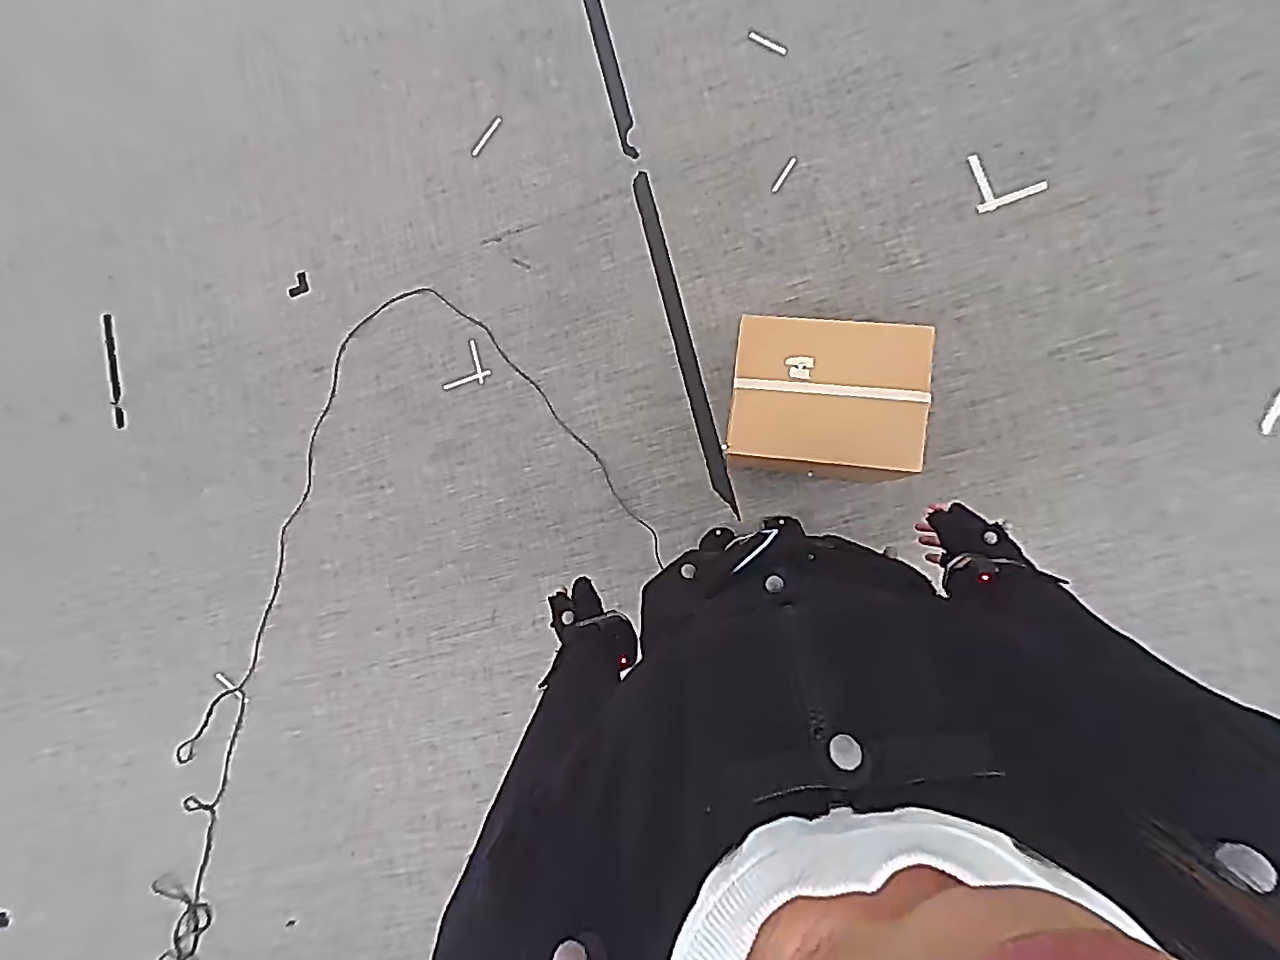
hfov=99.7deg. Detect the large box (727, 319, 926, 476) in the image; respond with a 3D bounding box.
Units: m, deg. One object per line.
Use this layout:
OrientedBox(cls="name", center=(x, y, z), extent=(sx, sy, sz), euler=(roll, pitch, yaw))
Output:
OrientedBox(cls="large box", center=(0.429, -0.185, 1.319), extent=(0.408, 0.320, 0.320), euler=(6, 86, 10))
